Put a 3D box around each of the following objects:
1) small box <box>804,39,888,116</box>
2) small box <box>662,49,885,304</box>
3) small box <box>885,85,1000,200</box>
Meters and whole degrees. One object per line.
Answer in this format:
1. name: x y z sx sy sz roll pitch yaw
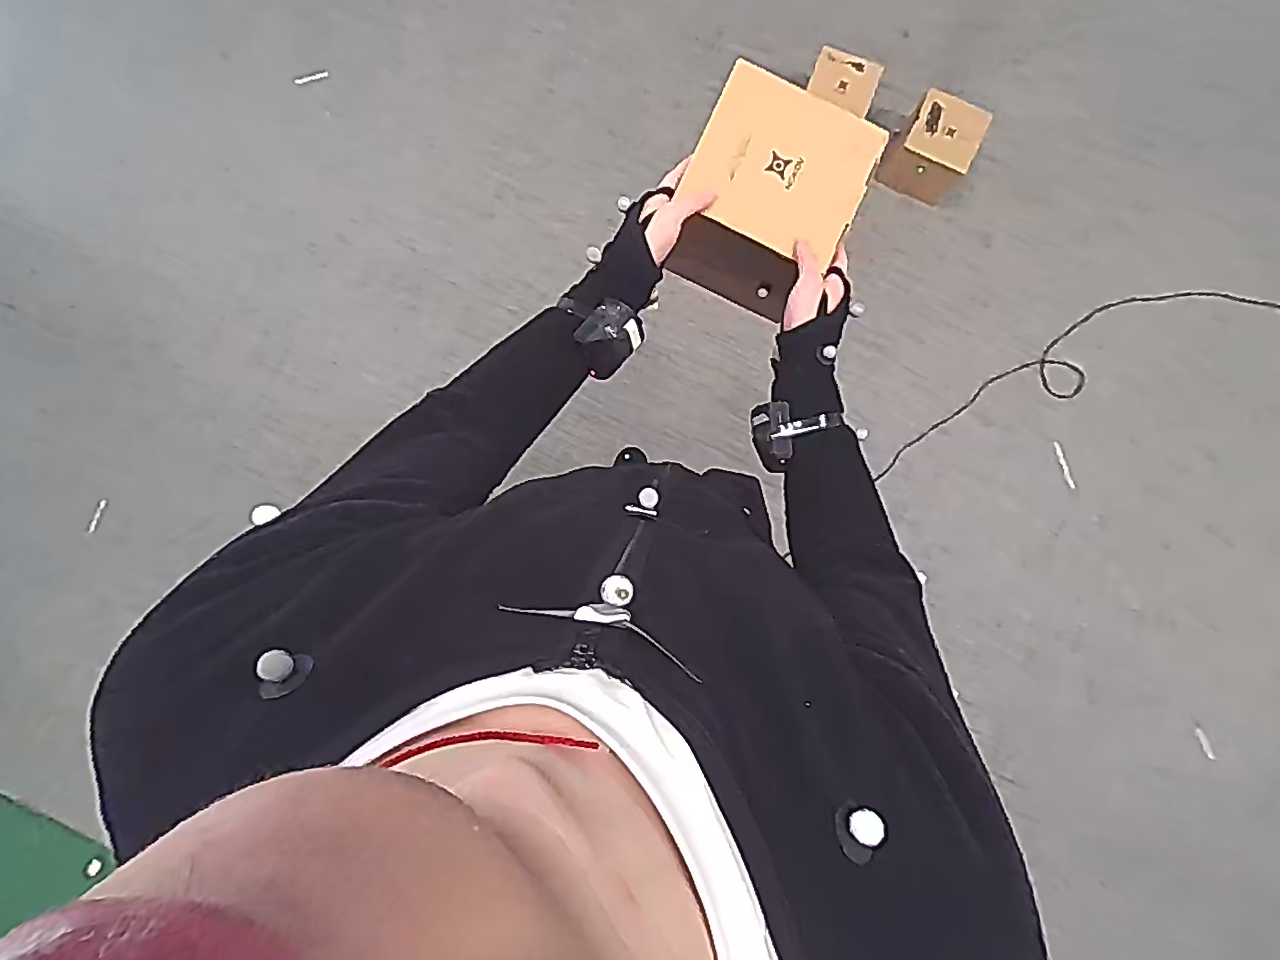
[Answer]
1. small box: 0.529 -1.007 1.432 0.179 0.176 0.168 -8 89 3
2. small box: 0.138 -0.327 0.627 0.179 0.176 0.168 26 88 0
3. small box: 0.787 -0.881 1.431 0.179 0.176 0.168 30 94 1
